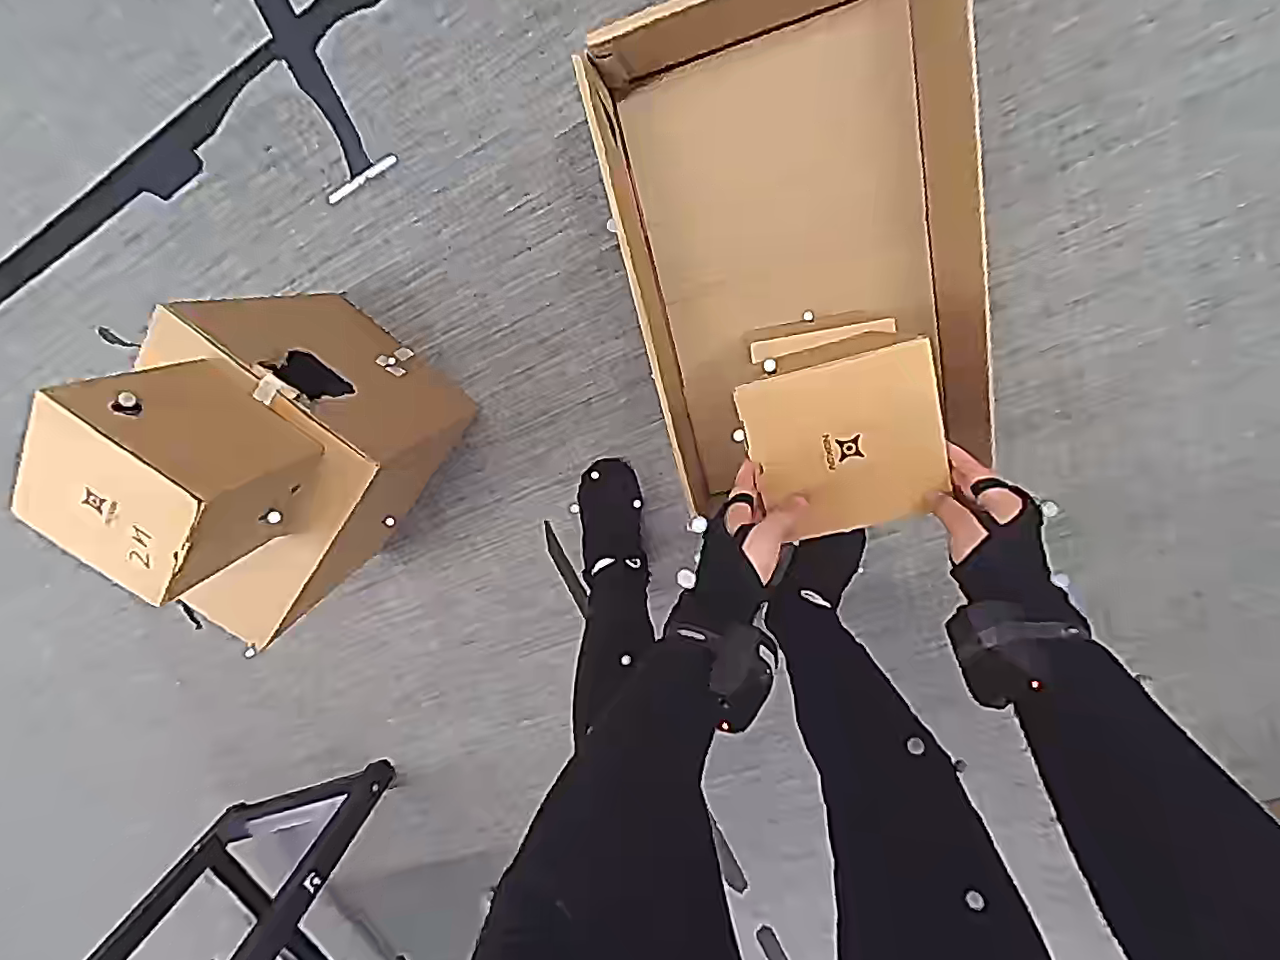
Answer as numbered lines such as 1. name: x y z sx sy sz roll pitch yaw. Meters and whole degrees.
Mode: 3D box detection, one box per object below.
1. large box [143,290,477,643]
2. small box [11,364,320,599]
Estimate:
1. large box: -0.533 -0.038 0.862 0.320 0.320 0.408 39 113 -6
2. small box: -0.511 -0.011 0.602 0.179 0.176 0.168 37 113 -7
